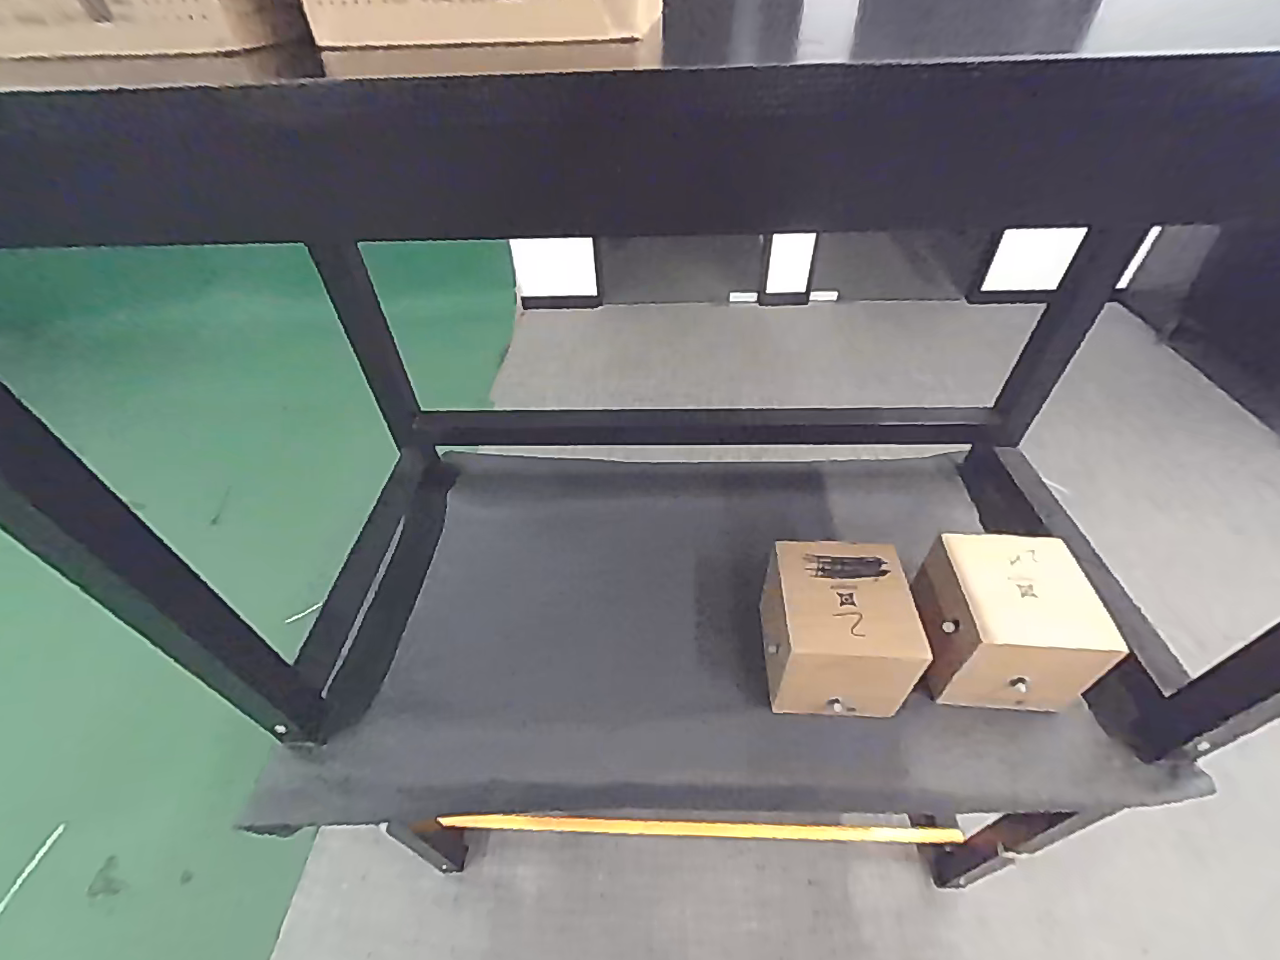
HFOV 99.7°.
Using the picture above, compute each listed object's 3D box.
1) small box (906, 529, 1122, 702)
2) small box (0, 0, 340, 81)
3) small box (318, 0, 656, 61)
[{"bbox_3d":[0.498,0.190,0.755,0.168,0.176,0.179,2,44,5],"label":"small box"},{"bbox_3d":[-0.275,-0.325,0.279,0.168,0.176,0.179,1,45,4],"label":"small box"},{"bbox_3d":[-0.078,-0.326,0.274,0.168,0.176,0.179,1,44,5],"label":"small box"}]
